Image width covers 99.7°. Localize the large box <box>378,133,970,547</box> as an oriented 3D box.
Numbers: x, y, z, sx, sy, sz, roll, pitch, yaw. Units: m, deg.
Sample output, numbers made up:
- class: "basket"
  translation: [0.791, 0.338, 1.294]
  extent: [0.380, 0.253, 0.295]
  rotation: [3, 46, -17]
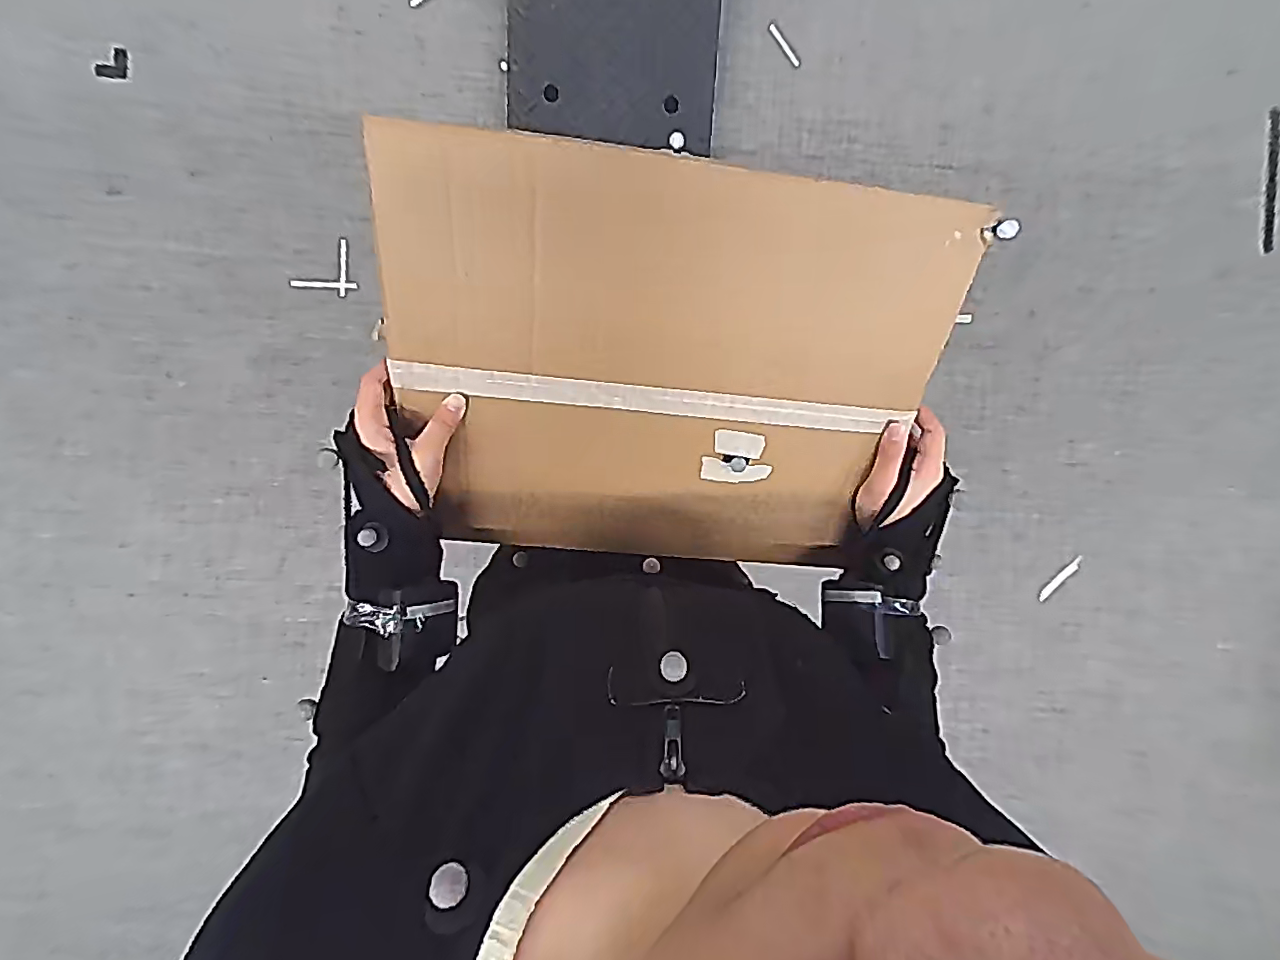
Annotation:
- class: "large box"
  translation: [0.008, -0.151, 0.556]
  extent: [0.408, 0.320, 0.320]
  rotation: [4, 123, -6]
